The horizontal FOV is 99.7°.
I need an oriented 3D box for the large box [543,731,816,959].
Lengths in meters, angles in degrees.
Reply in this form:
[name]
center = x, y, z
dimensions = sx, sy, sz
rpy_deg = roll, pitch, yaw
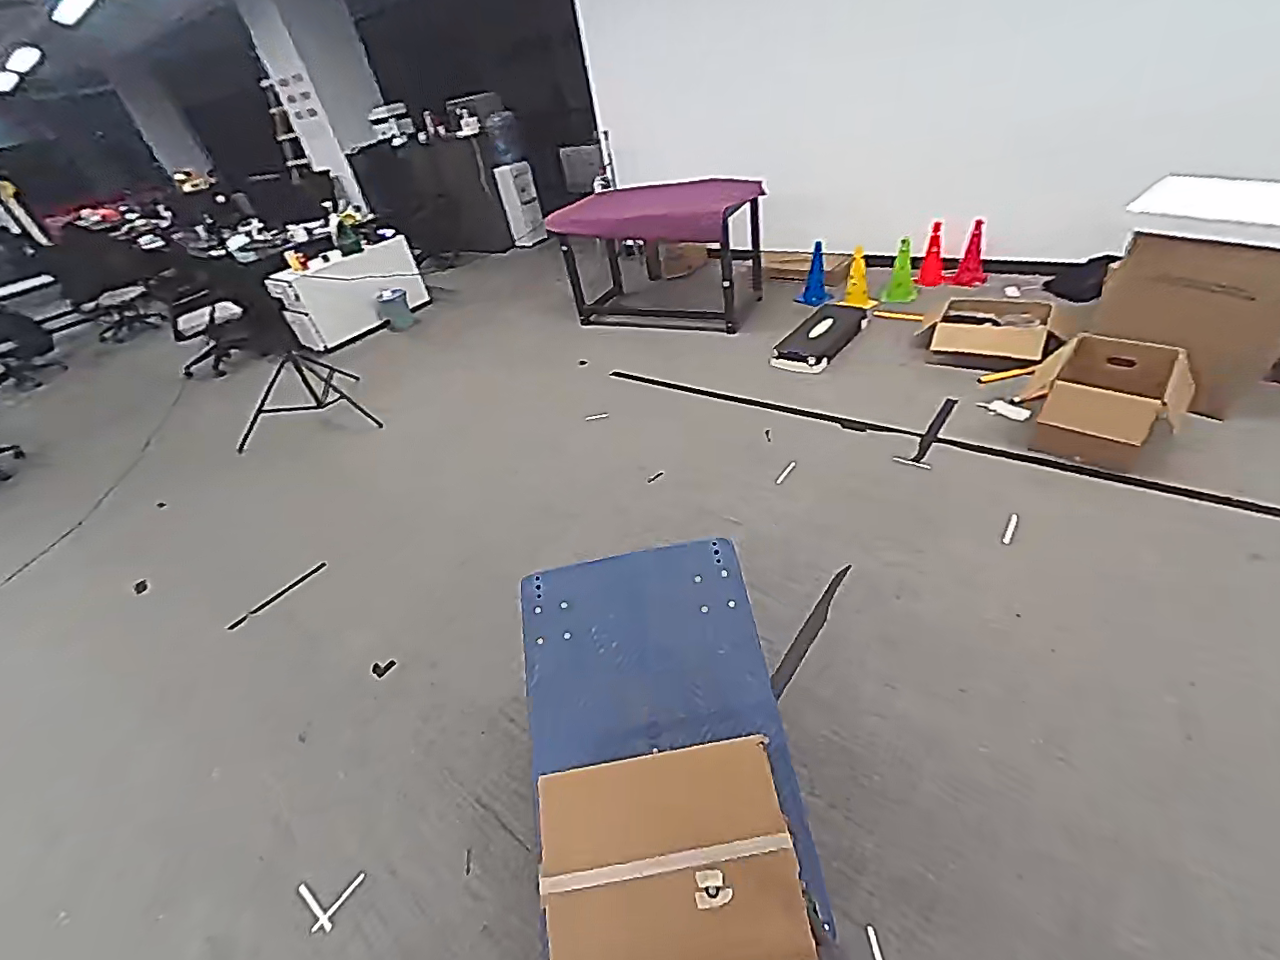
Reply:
[large box]
center = 0.061, 0.693, 1.019
dimensions = 0.408, 0.320, 0.320
rpy_deg = -12, 62, 0
